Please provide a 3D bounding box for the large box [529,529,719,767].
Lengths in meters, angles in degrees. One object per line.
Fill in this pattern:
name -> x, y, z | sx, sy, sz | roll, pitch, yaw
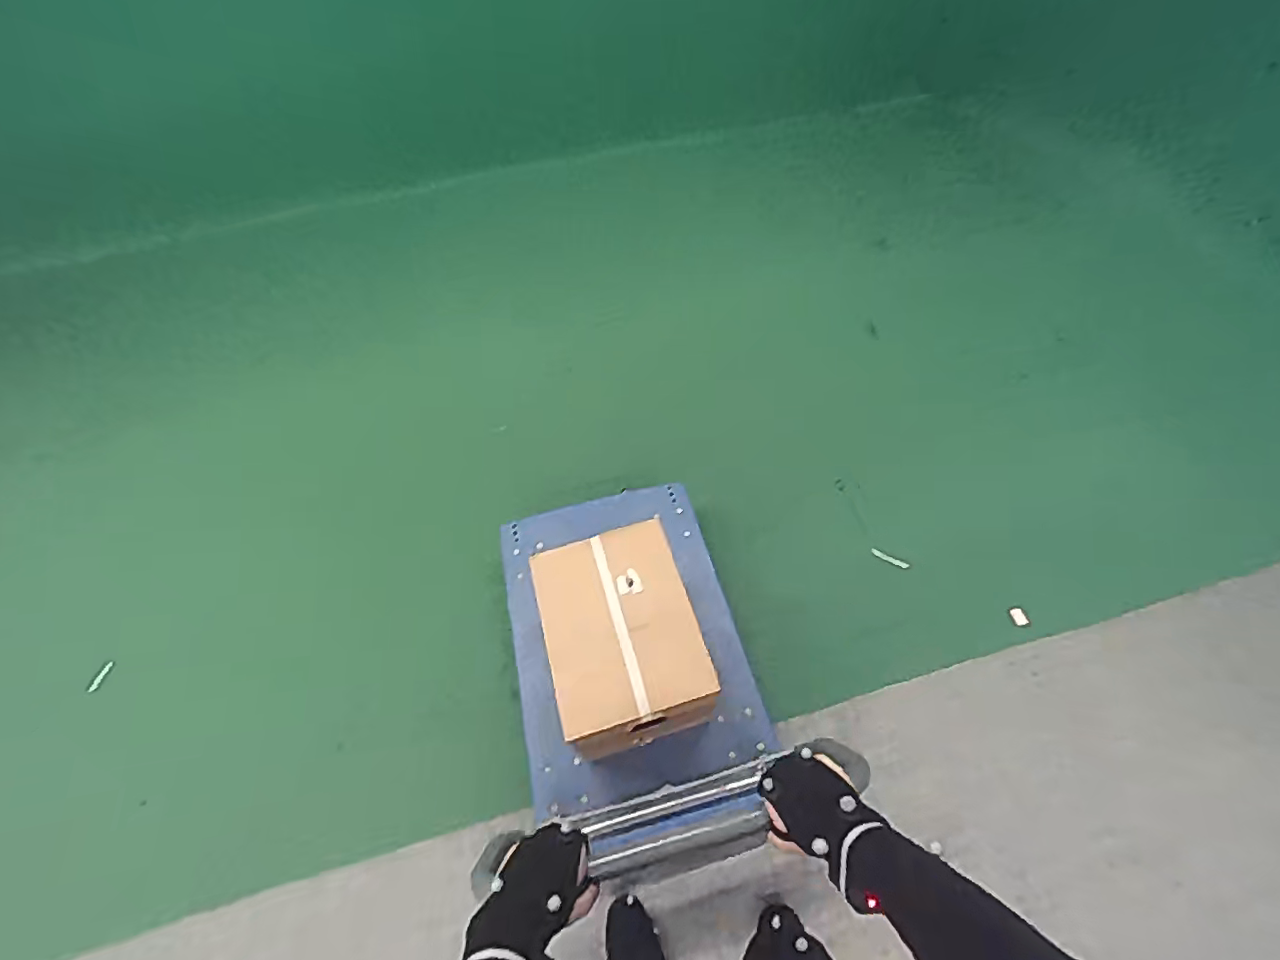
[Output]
large box -> -0.036, 0.393, 1.263 | 0.320, 0.320, 0.408 | -16, 56, -7
